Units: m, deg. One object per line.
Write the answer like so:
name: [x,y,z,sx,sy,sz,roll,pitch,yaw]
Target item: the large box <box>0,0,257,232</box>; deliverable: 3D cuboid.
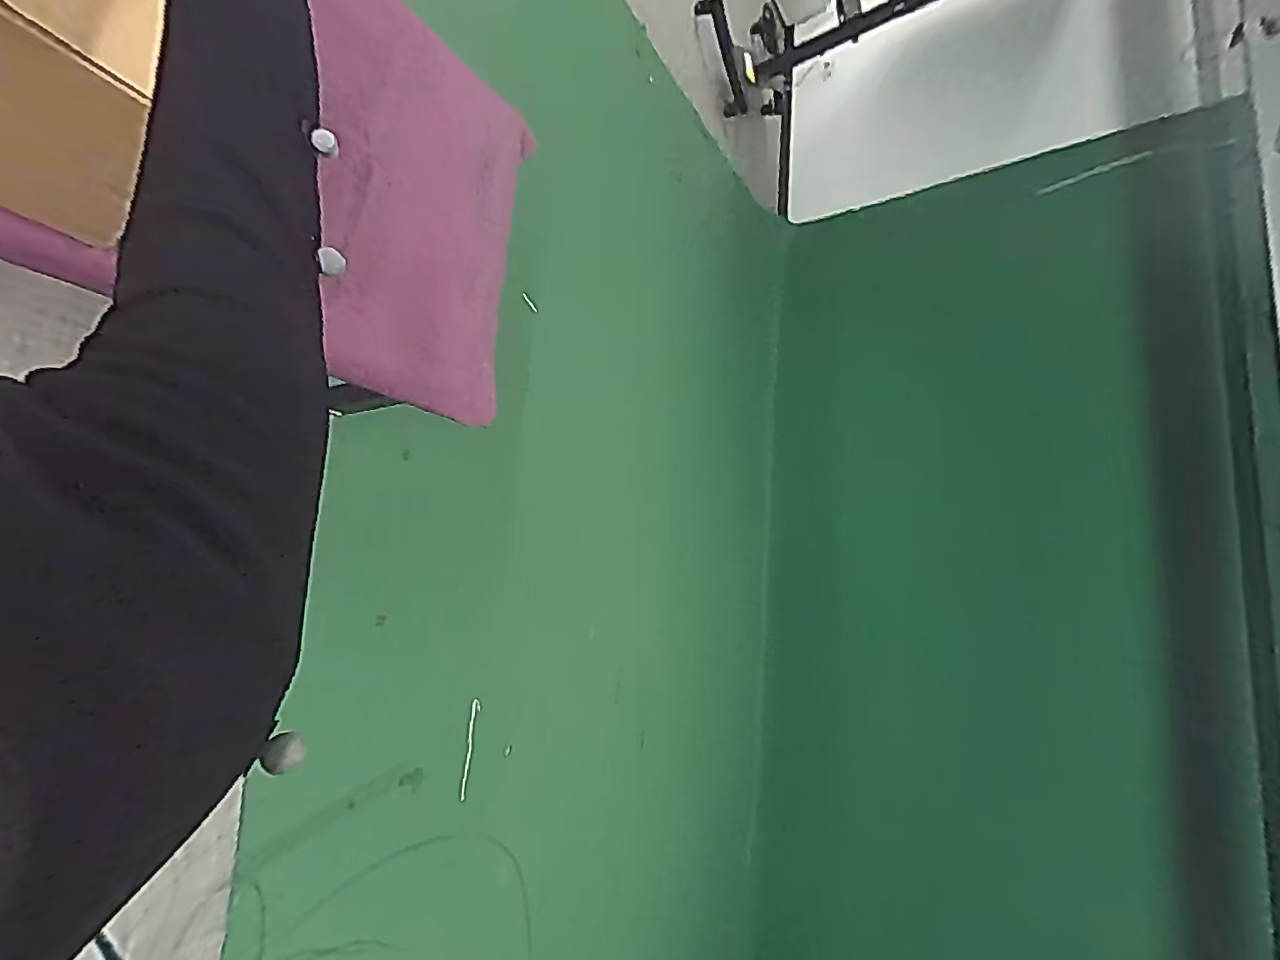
large box: [-0.529,-0.496,0.432,0.320,0.320,0.408,23,70,-53]
